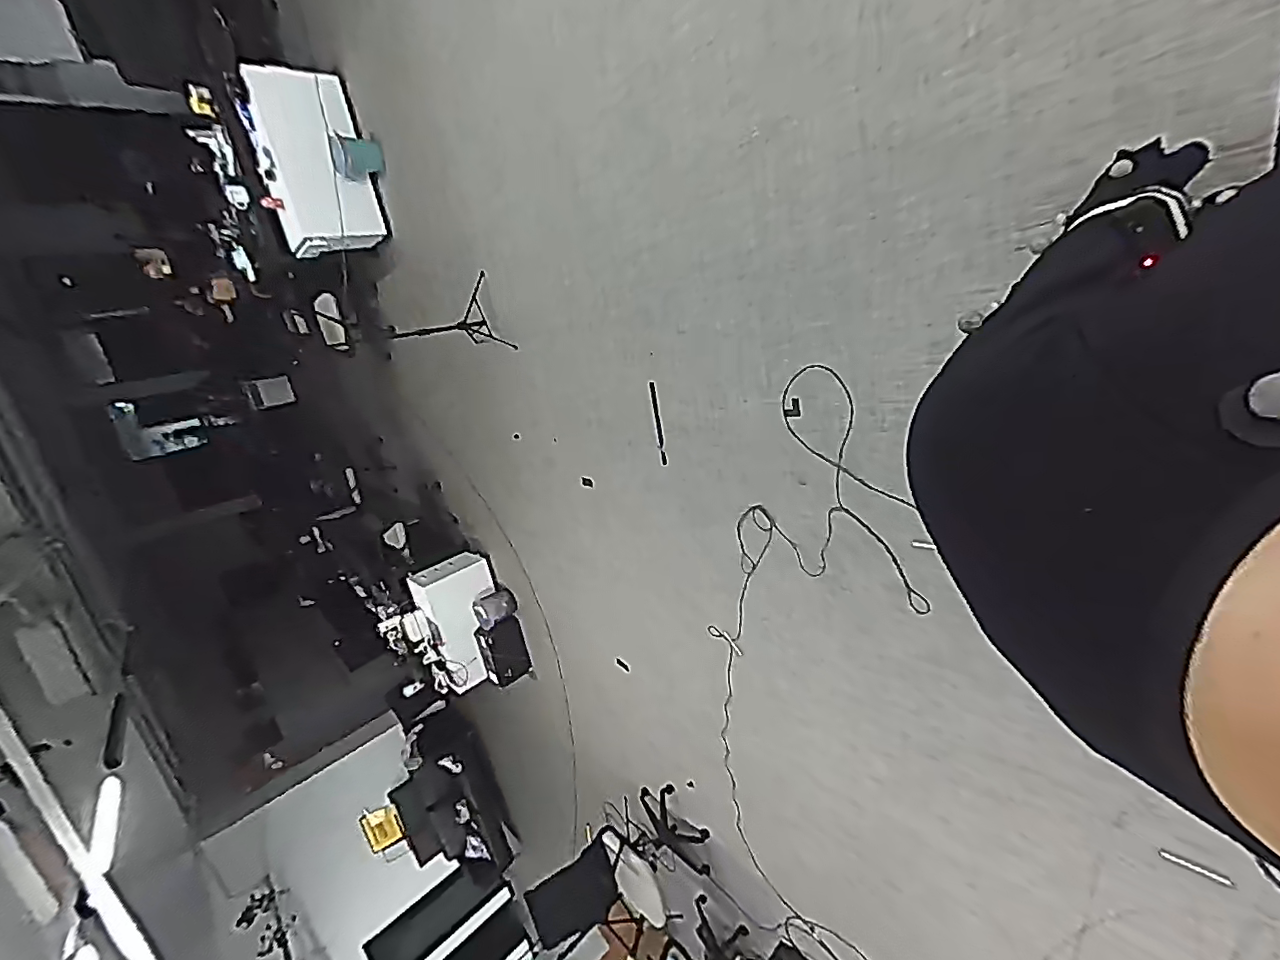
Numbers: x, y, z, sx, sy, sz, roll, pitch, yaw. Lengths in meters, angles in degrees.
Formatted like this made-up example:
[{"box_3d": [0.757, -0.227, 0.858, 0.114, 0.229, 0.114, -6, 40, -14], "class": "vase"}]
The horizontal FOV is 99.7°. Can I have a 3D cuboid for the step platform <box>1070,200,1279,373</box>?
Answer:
[{"box_3d": [1.213, -0.373, 0.977, 0.684, 0.204, 0.286, 4, 112, 48], "class": "step platform"}]
